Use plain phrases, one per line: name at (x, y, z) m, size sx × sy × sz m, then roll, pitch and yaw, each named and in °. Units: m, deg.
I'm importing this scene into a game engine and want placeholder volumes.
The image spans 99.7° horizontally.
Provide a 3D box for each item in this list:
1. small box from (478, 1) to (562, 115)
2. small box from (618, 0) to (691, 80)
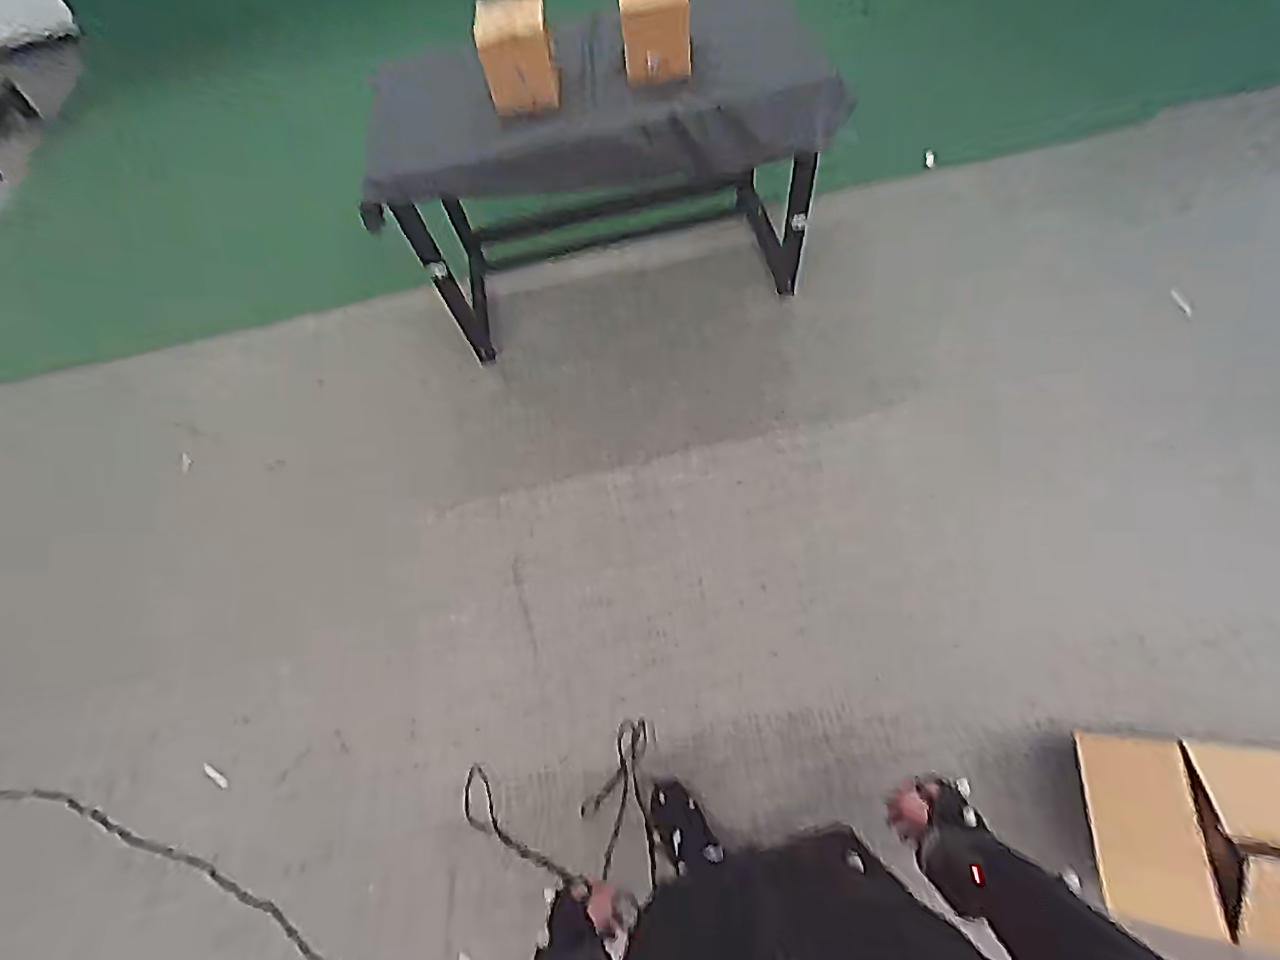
small box at (-0.303, -1.071, 1.388) m, size 0.168 × 0.176 × 0.179 m, roll -10°, pitch 62°, yaw 3°
small box at (0.040, -1.156, 1.366) m, size 0.168 × 0.176 × 0.179 m, roll -4°, pitch 63°, yaw 7°
